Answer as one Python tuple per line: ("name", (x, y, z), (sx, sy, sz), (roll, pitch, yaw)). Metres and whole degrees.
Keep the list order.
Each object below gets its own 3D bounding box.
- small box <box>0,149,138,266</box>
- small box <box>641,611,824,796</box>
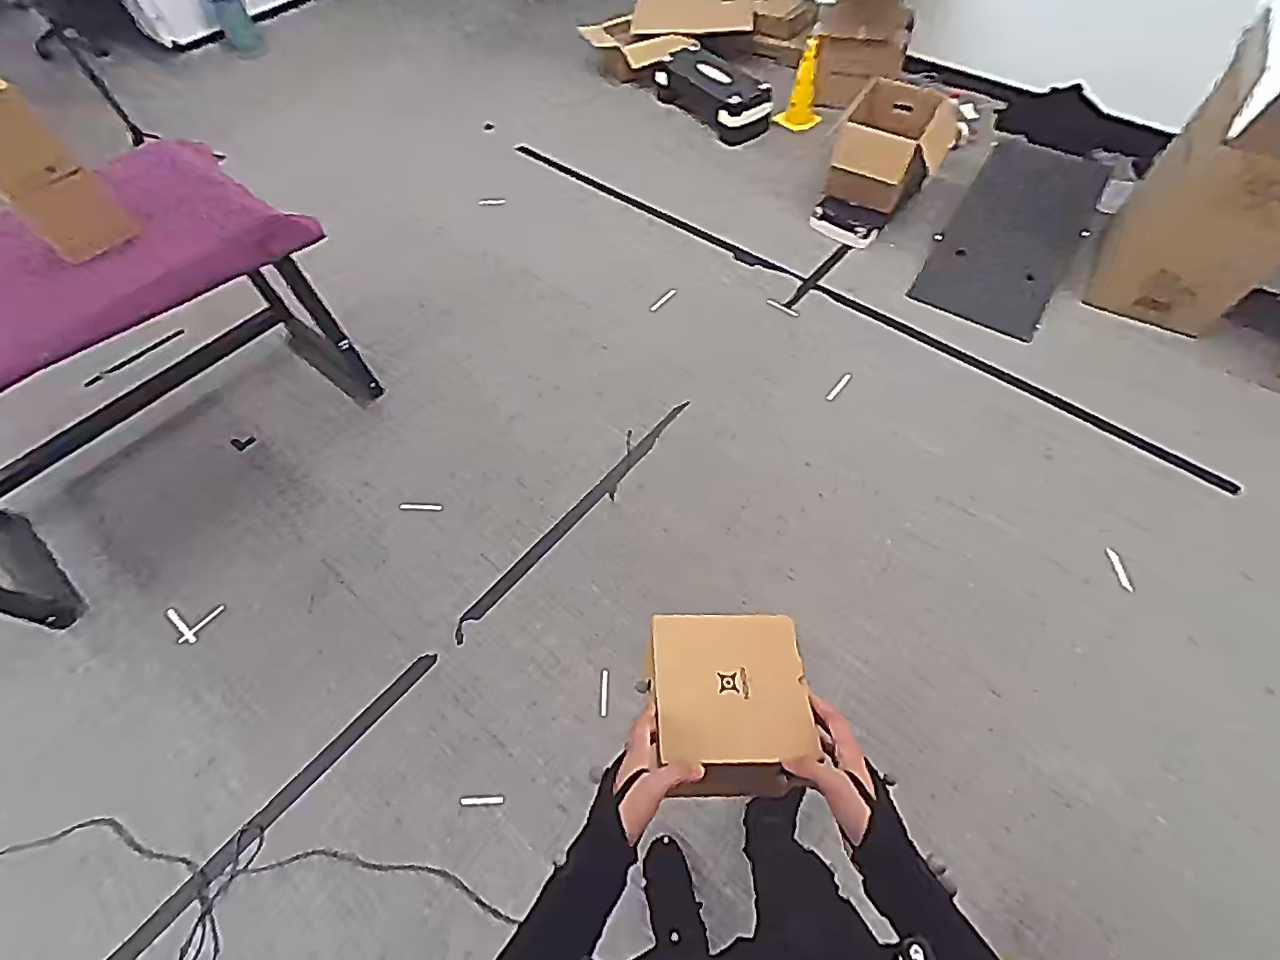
("small box", (-1.396, -0.663, 1.323), (0.168, 0.176, 0.179), (32, 65, 20))
("small box", (0.093, 0.272, 0.654), (0.179, 0.176, 0.168), (2, 48, -6))
